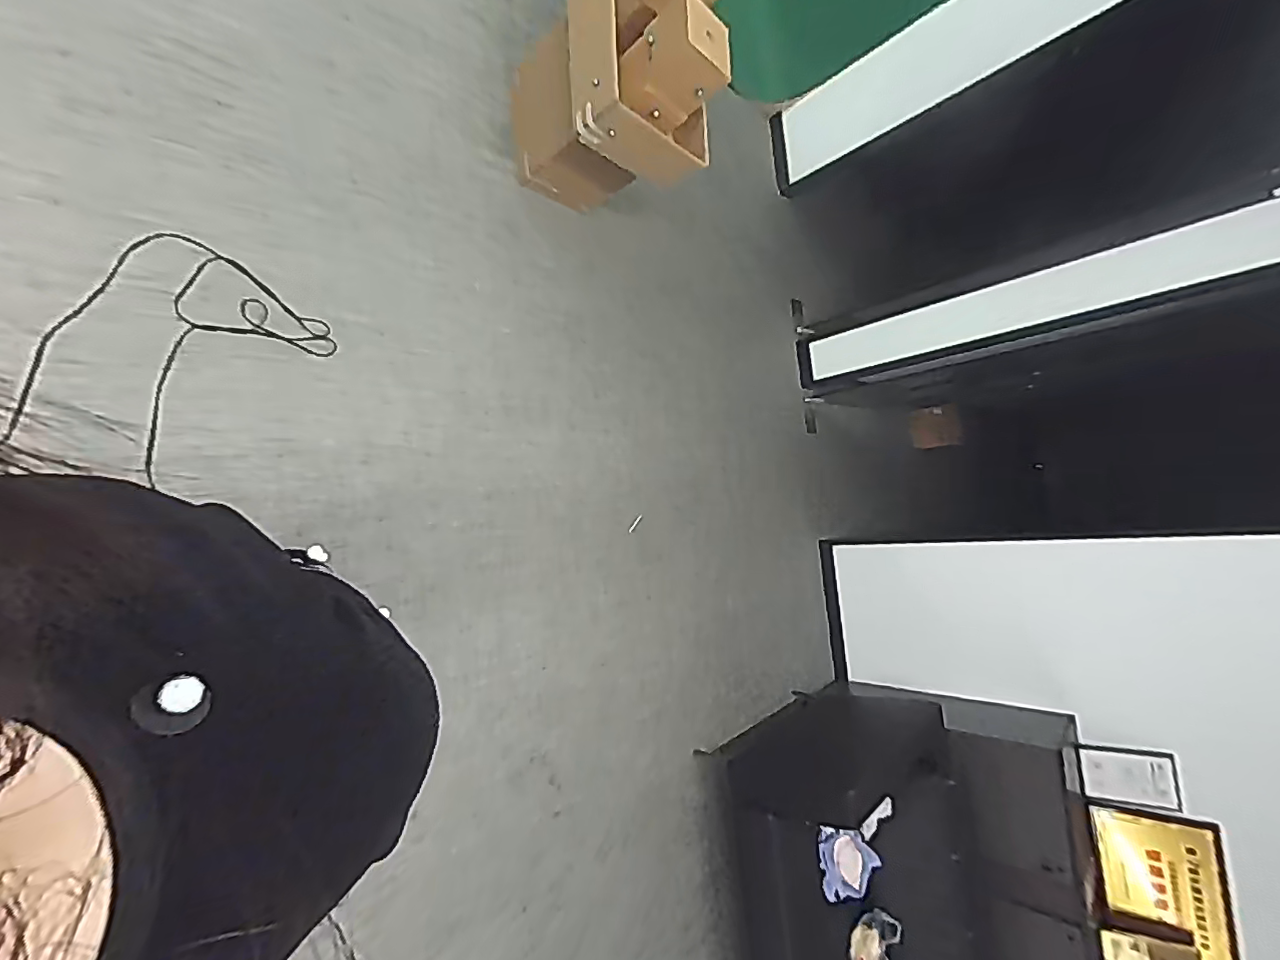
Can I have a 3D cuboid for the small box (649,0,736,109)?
[{"bbox_3d":[0.143,-1.160,1.473,0.179,0.176,0.168,6,79,-42],"label":"small box"}]
